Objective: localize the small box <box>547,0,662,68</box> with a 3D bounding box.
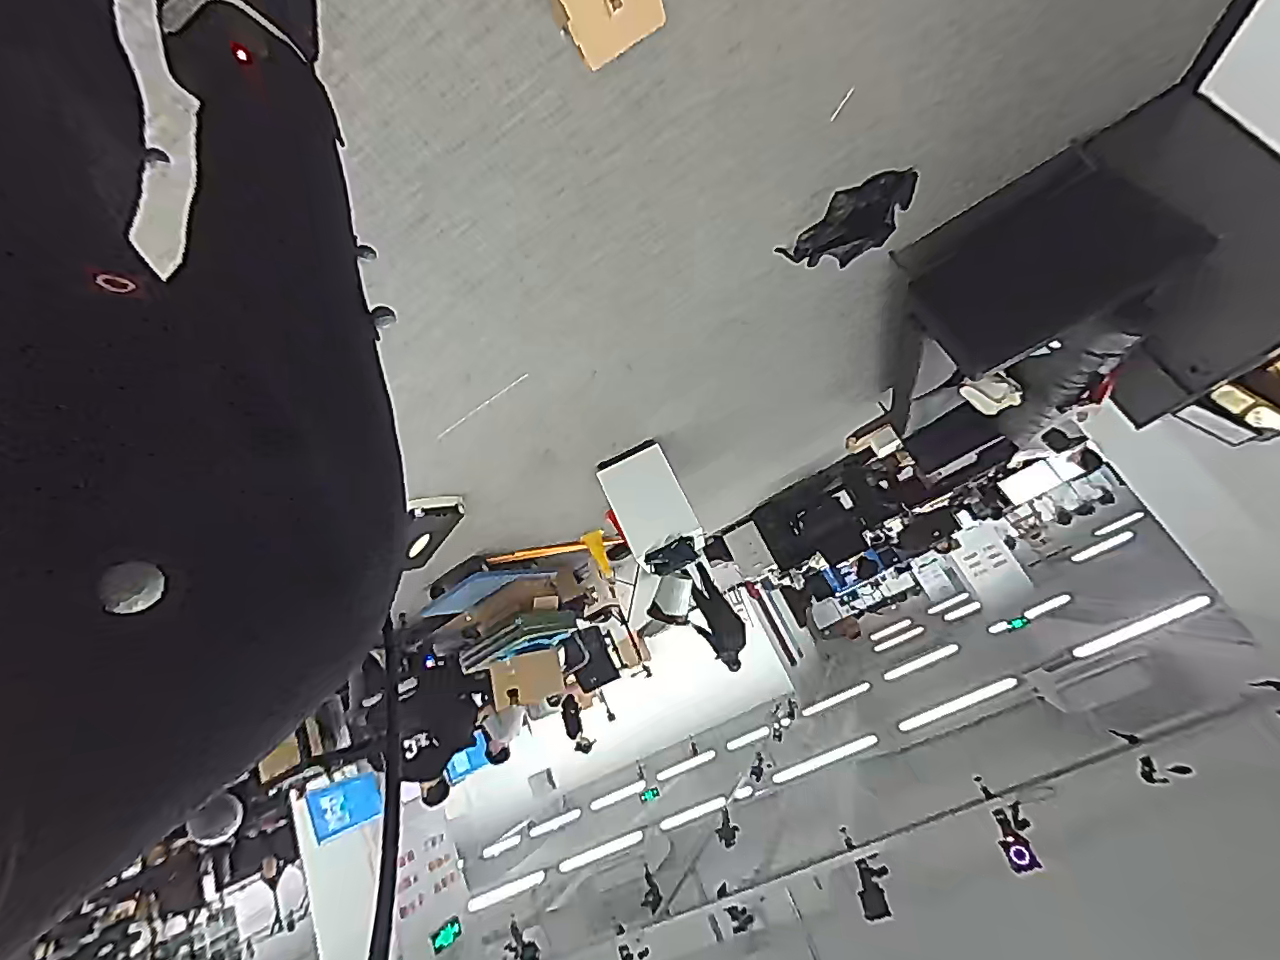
[{"bbox_3d":[-0.087,-0.921,0.984,0.179,0.176,0.168,-30,162,8],"label":"small box"}]
